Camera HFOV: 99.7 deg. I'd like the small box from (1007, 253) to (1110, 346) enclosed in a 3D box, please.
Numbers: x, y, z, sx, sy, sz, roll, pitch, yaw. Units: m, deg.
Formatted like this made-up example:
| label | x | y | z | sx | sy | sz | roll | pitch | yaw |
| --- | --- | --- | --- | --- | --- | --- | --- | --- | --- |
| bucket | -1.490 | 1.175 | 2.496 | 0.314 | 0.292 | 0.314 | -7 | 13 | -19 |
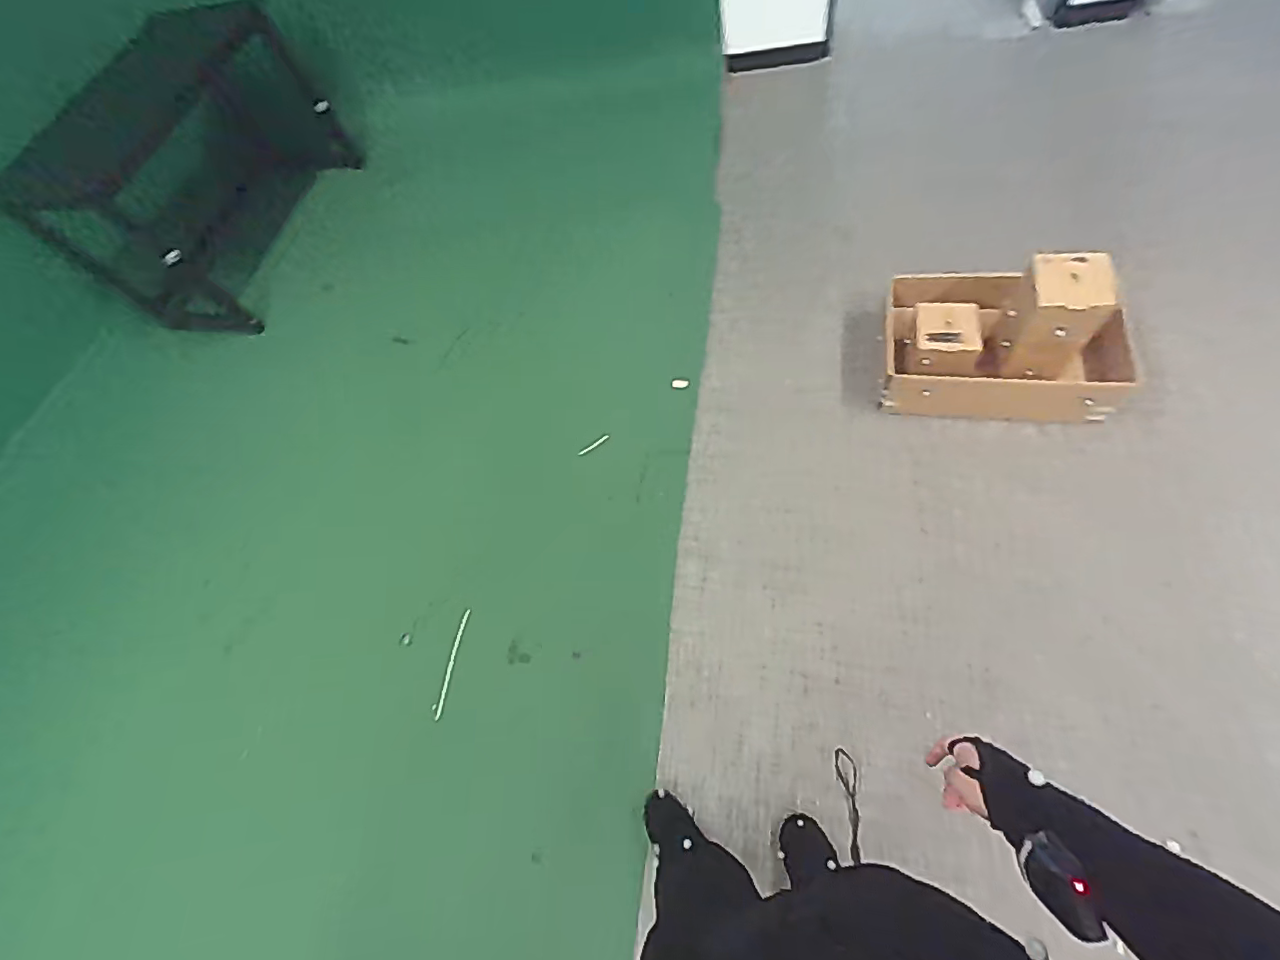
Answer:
| label | x | y | z | sx | sy | sz | roll | pitch | yaw |
| --- | --- | --- | --- | --- | --- | --- | --- | --- | --- |
| small box | 1.100 | -0.473 | 1.434 | 0.168 | 0.176 | 0.179 | 6 | 68 | 16 |
